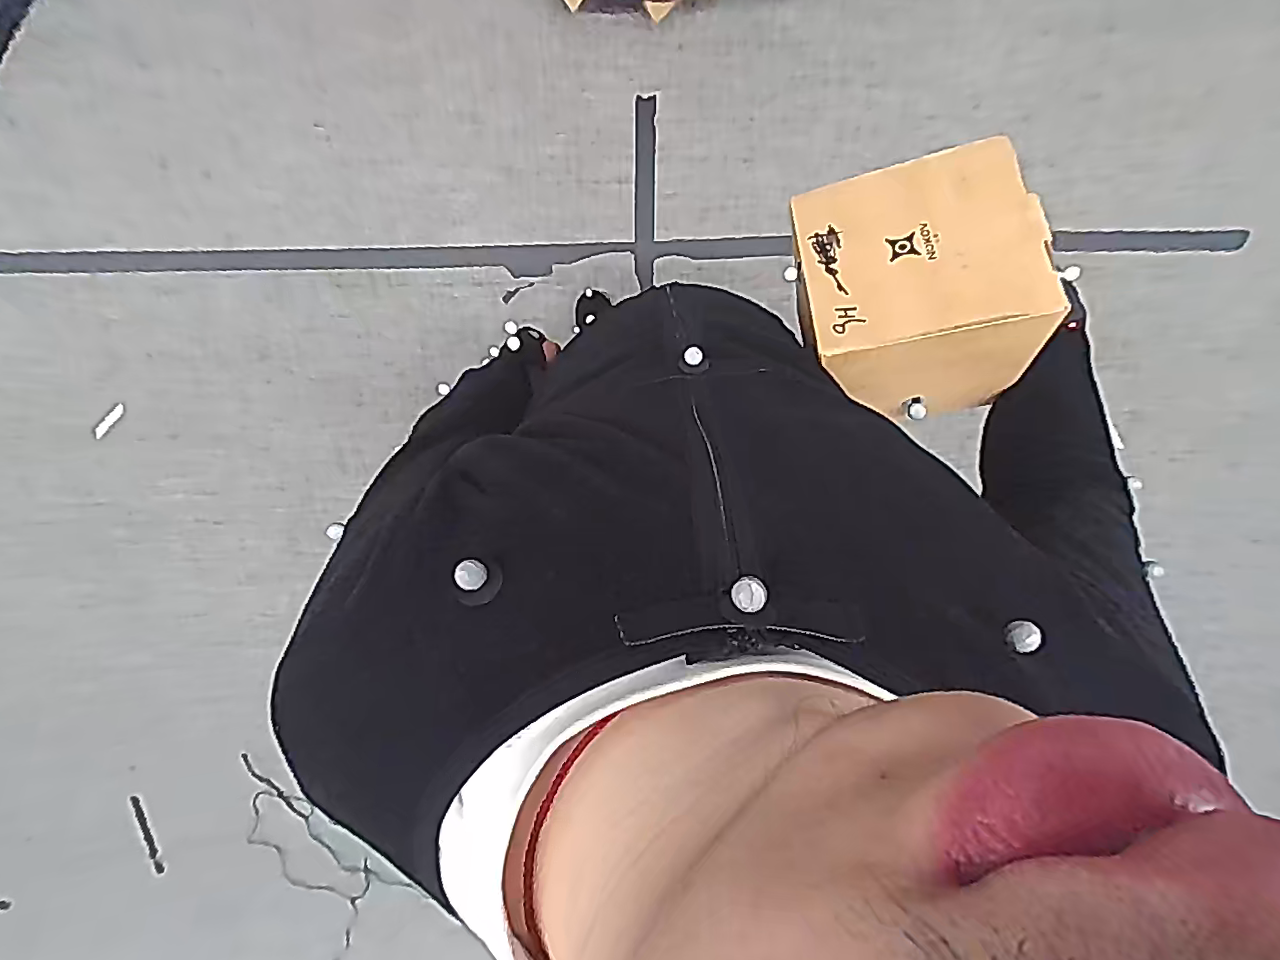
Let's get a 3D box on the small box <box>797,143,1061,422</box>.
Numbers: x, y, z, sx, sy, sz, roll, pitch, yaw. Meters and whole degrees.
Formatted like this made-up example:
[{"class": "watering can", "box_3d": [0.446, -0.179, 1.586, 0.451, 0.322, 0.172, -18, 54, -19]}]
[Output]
[{"class": "small box", "box_3d": [0.252, -0.171, 0.522, 0.179, 0.176, 0.168, -8, 71, 16]}]
